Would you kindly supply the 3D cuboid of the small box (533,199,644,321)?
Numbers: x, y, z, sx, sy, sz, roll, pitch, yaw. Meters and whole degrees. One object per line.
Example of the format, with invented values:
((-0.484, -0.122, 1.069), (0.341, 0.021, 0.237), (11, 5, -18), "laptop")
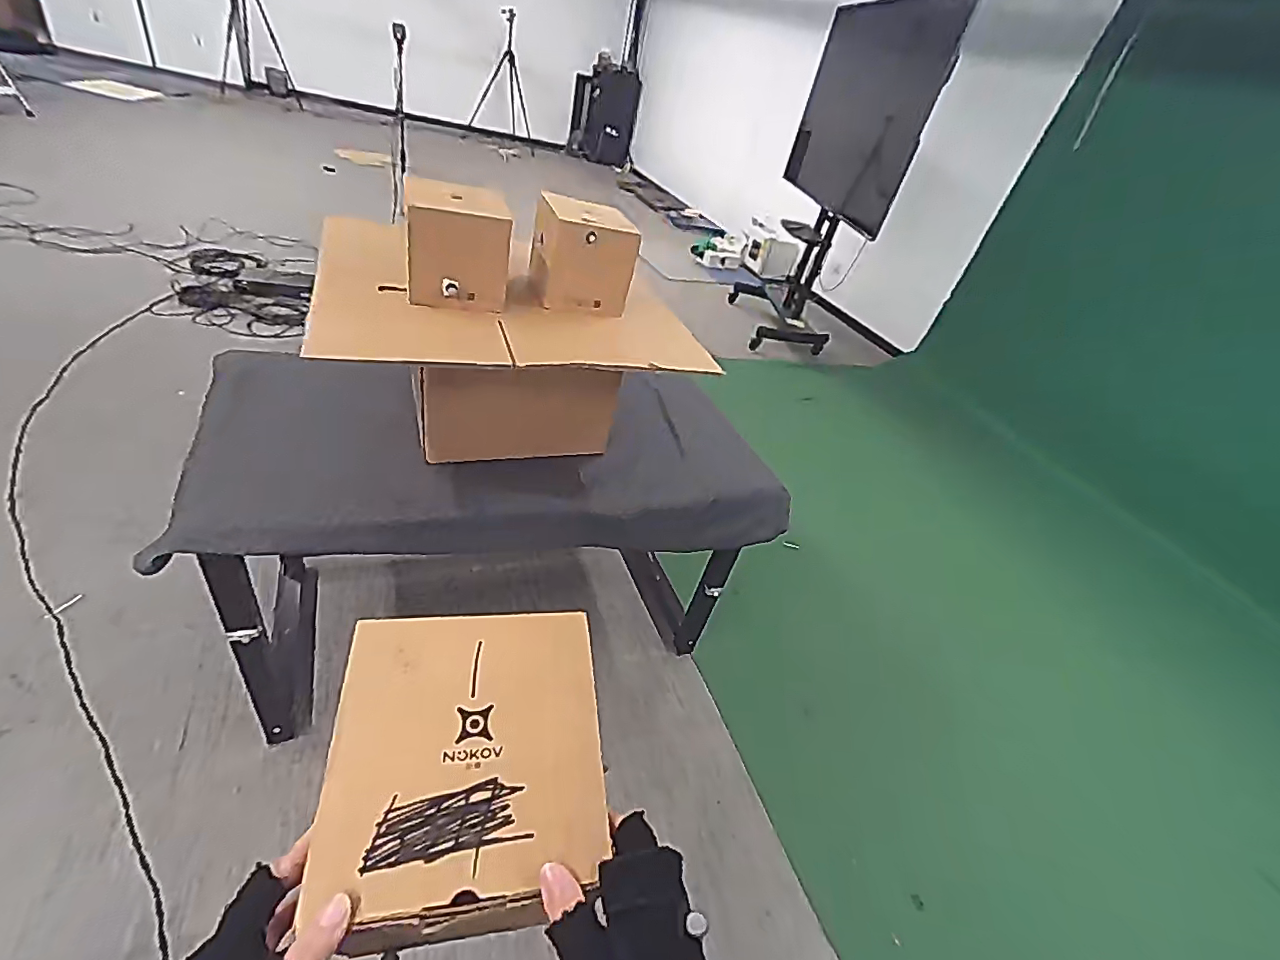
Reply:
((-0.113, -0.442, 1.092), (0.168, 0.176, 0.179), (-1, 39, -24), "small box")

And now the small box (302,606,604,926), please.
((-0.125, 0.216, 0.412), (0.168, 0.176, 0.179), (2, 46, -14), "small box")

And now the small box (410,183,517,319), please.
((-0.329, -0.415, 0.985), (0.168, 0.176, 0.179), (-4, 43, -24), "small box")
